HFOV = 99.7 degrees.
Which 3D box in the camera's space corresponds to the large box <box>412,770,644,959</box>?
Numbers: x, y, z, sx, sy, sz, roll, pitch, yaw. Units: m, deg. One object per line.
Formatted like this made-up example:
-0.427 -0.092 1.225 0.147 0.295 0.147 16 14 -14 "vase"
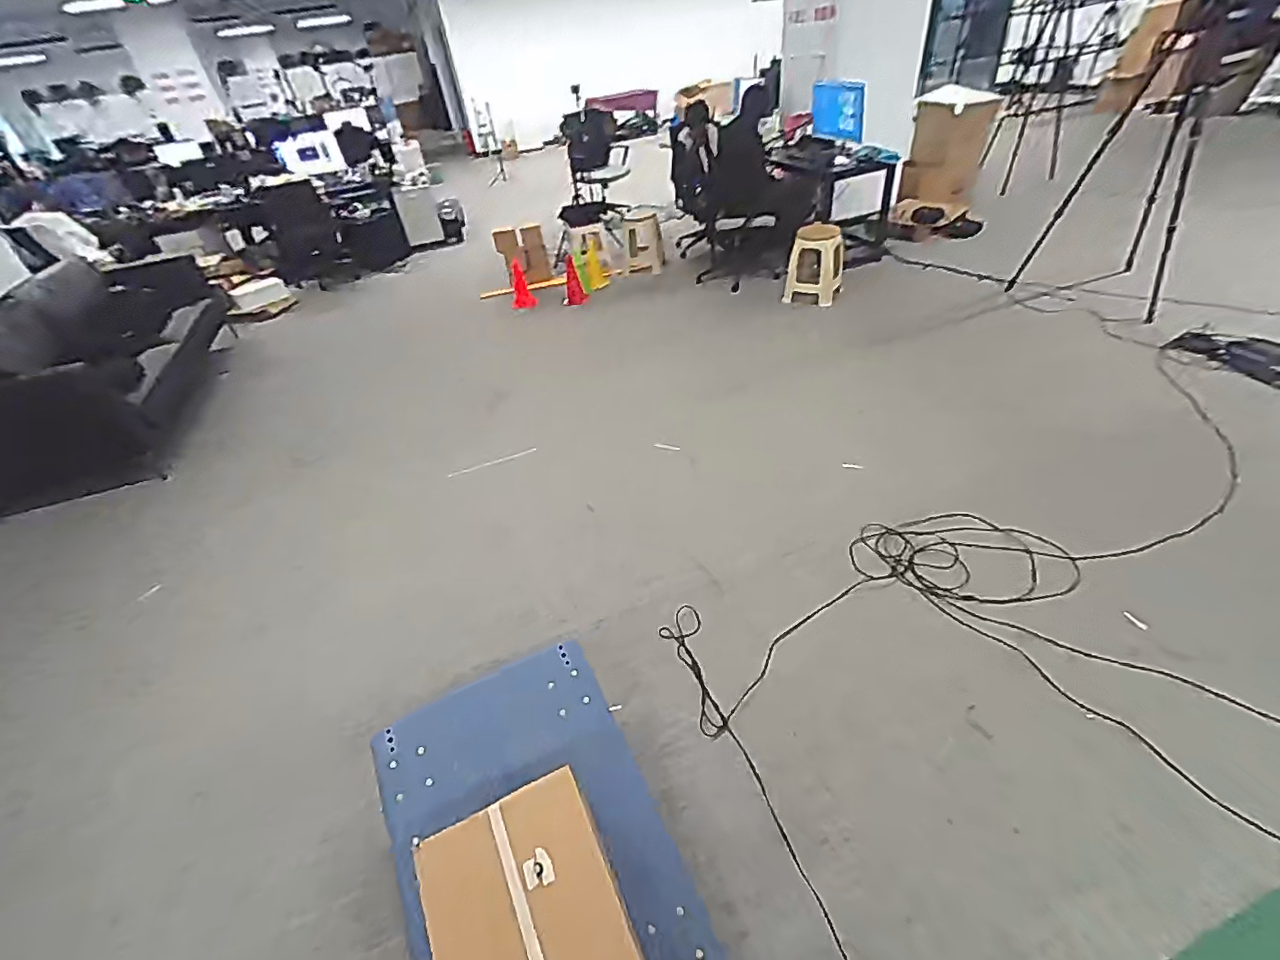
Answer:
-0.195 0.863 1.044 0.320 0.320 0.408 -21 53 -17 "large box"
